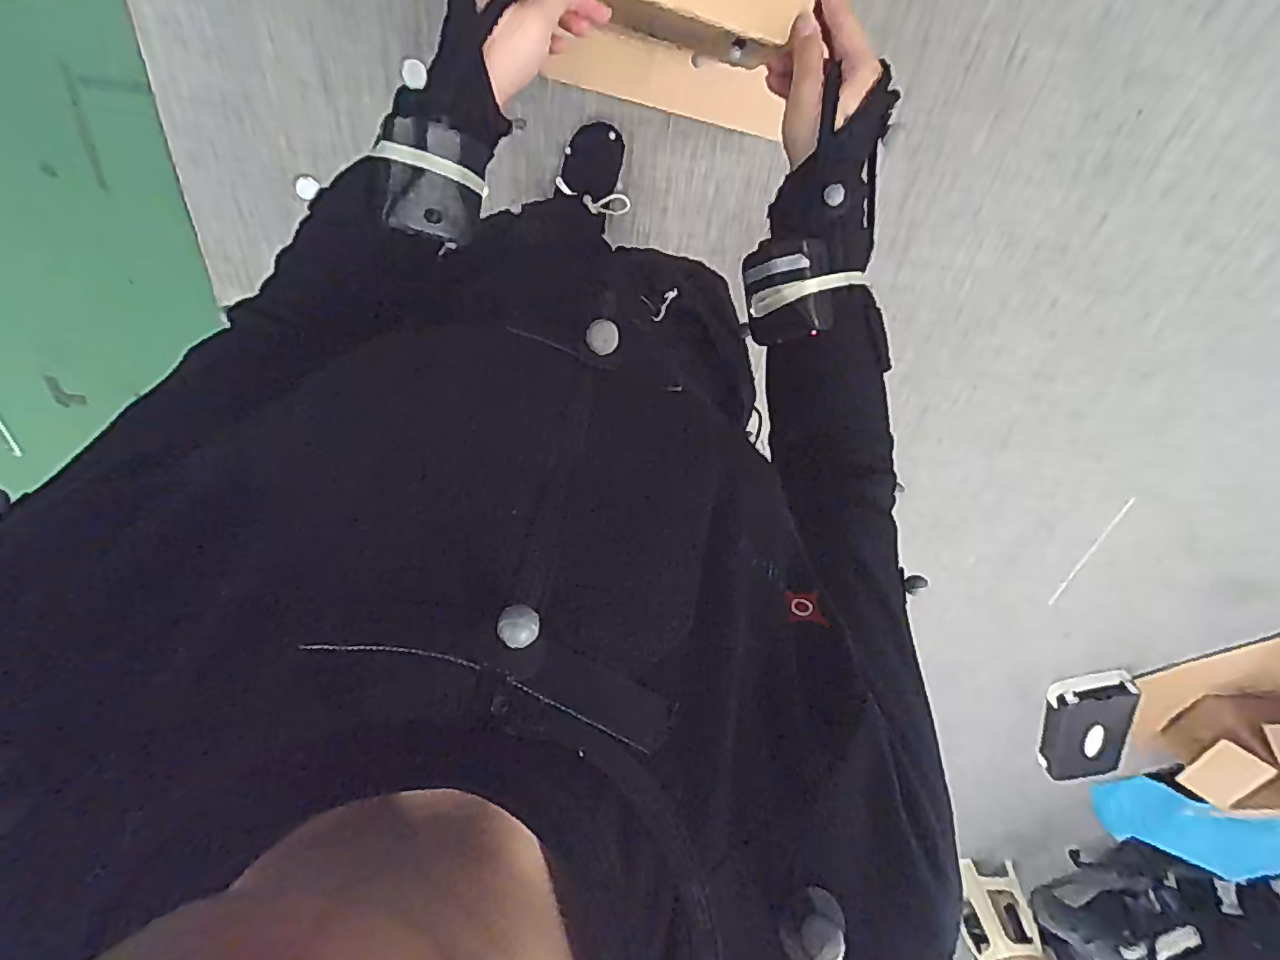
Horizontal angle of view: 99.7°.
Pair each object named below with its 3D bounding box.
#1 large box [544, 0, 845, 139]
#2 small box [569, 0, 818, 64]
[{"bbox_3d":[0.076,-0.758,0.839,0.408,0.320,0.320,8,125,-9],"label":"large box"},{"bbox_3d":[0.041,-0.416,0.378,0.179,0.176,0.168,9,123,-11],"label":"small box"}]
